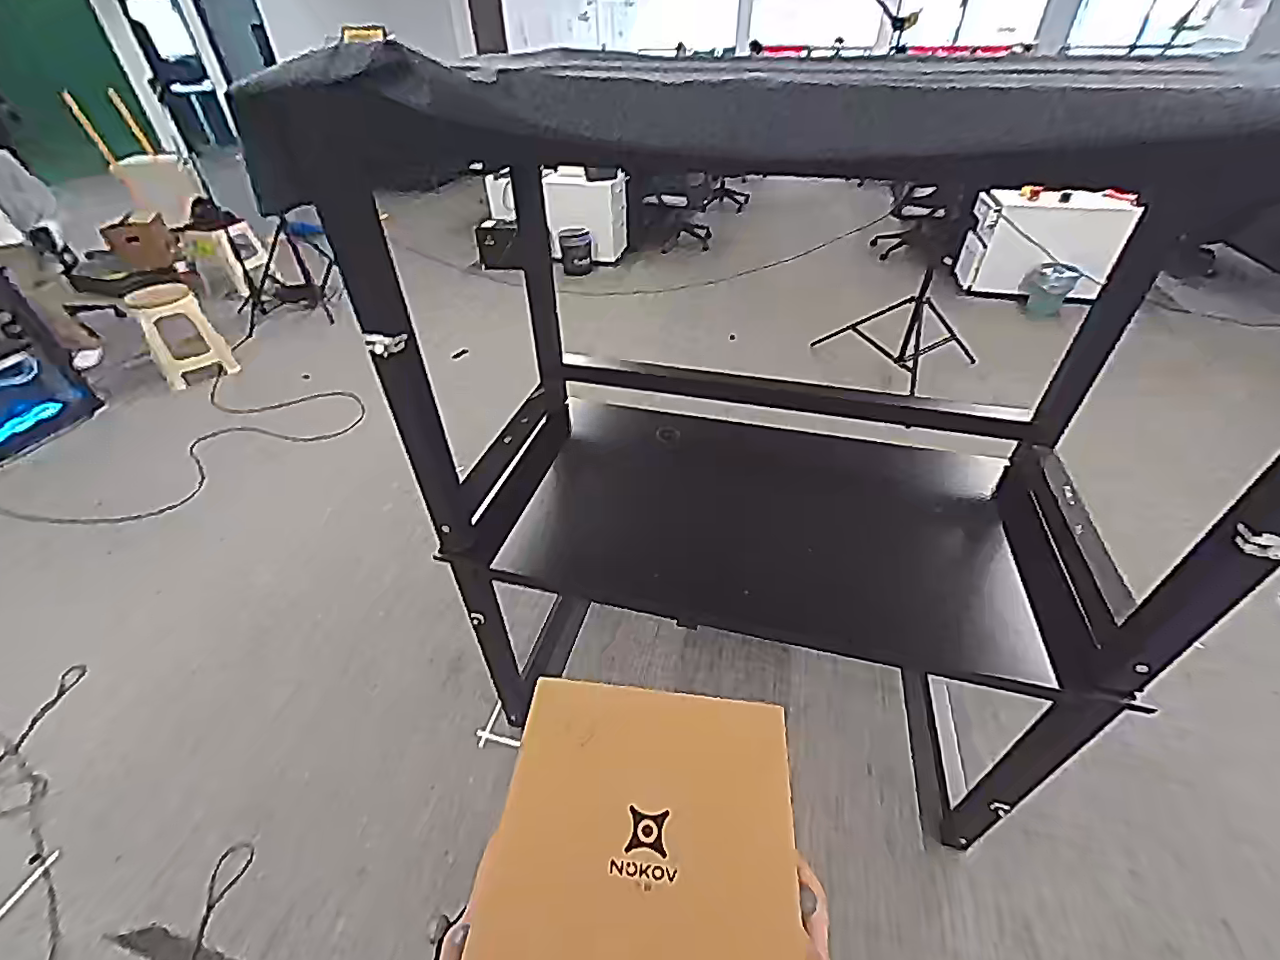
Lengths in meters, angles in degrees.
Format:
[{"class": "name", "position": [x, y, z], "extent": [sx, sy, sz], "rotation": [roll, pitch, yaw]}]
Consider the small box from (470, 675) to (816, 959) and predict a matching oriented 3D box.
[{"class": "small box", "position": [0.004, 0.254, 0.344], "extent": [0.168, 0.176, 0.179], "rotation": [5, 42, 3]}]
